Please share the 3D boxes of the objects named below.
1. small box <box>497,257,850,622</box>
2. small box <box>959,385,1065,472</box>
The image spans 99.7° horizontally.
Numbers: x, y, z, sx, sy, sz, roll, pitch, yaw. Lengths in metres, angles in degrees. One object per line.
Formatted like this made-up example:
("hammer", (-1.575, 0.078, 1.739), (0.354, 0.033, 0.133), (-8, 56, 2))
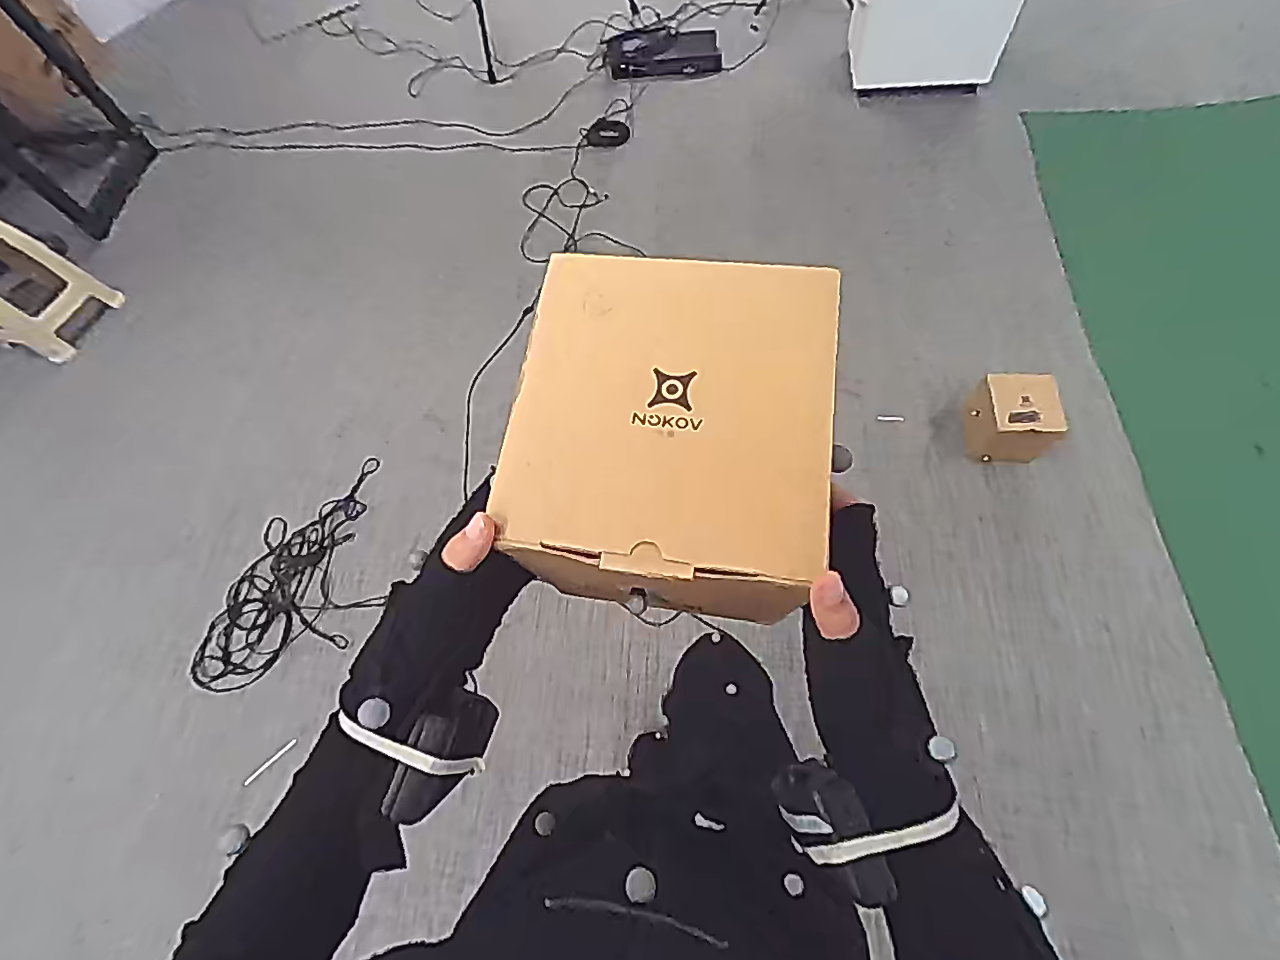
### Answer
("small box", (0.029, -0.014, 0.355), (0.168, 0.176, 0.179), (7, 71, 8))
("small box", (0.989, -0.134, 1.455), (0.168, 0.176, 0.179), (3, 64, 7))
